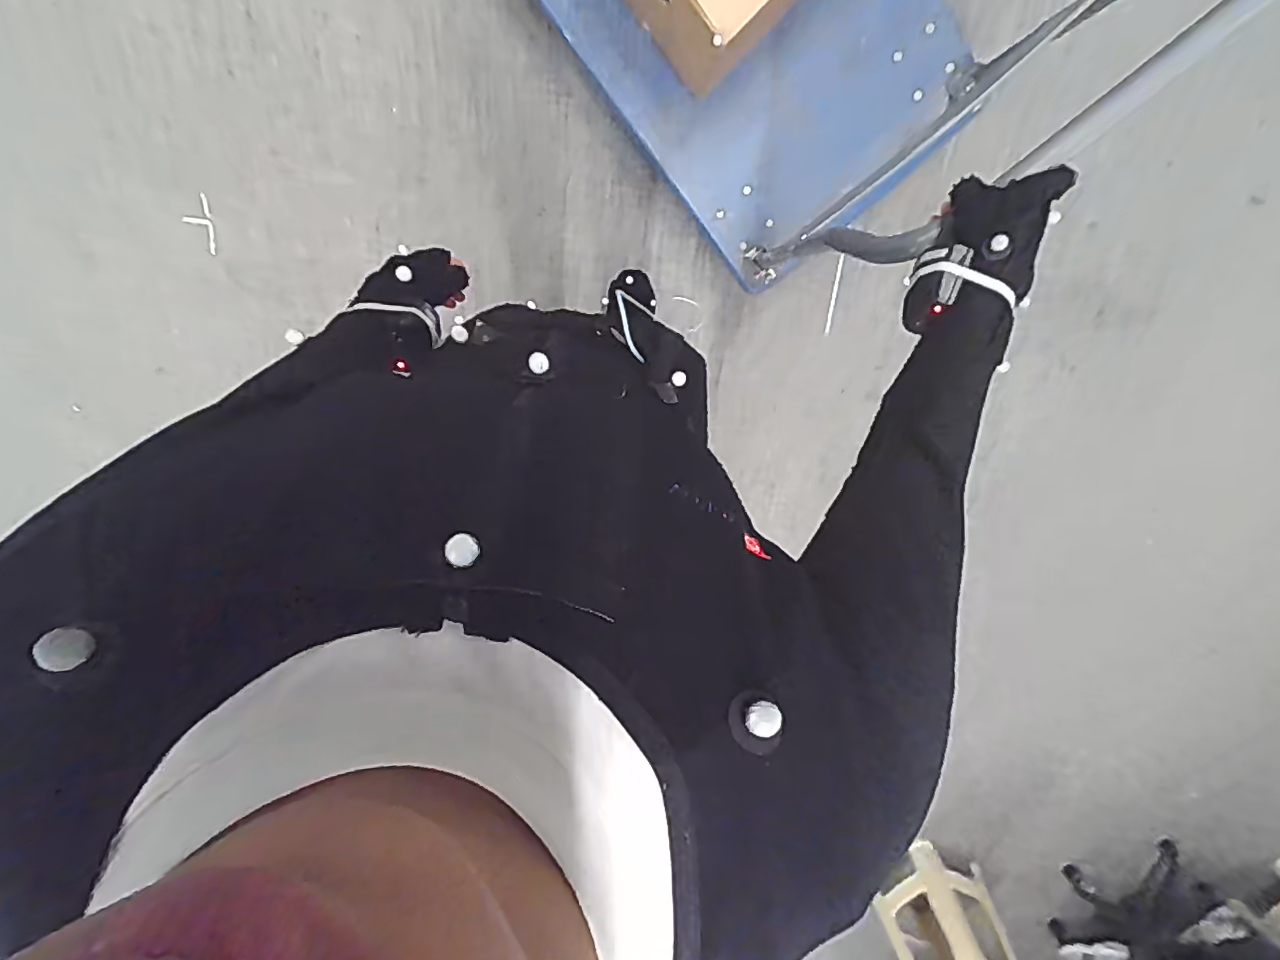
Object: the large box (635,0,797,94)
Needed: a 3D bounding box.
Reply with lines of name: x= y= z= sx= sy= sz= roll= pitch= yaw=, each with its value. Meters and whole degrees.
large box: x=0.172 y=-0.913 z=0.823 sx=0.408 sy=0.320 sz=0.320 roll=-40 pitch=107 yaw=15
